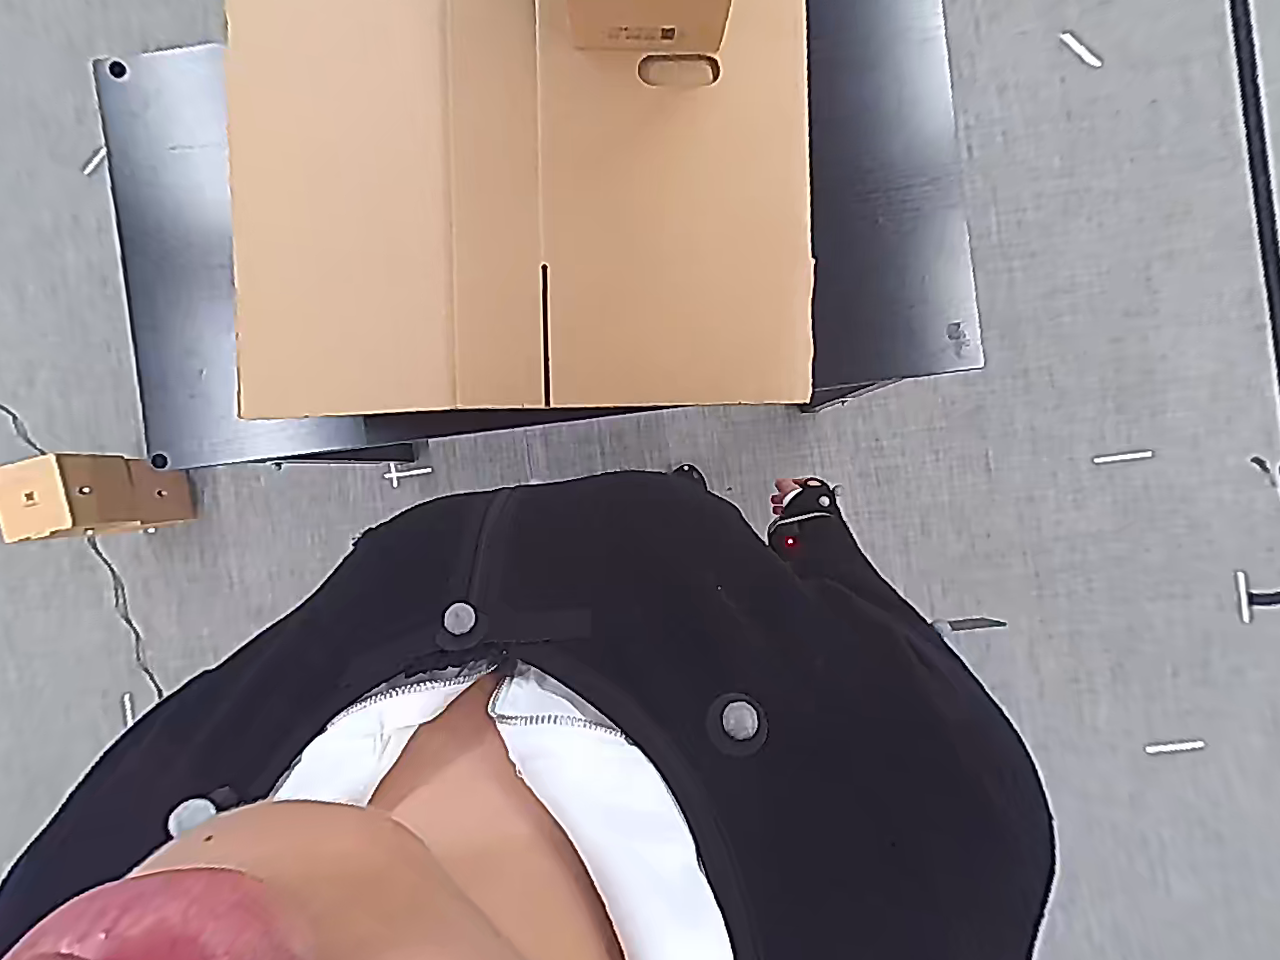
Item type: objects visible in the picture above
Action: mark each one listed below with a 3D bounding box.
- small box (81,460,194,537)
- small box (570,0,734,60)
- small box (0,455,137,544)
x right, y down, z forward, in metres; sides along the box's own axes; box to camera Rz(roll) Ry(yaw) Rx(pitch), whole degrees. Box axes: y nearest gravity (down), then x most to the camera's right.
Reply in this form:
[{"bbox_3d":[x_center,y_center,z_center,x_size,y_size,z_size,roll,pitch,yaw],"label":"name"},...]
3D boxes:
[{"bbox_3d":[-1.364,0.048,1.462,0.168,0.176,0.179,-11,91,2],"label":"small box"},{"bbox_3d":[0.012,-0.552,0.513,0.168,0.176,0.179,0,89,-2],"label":"small box"},{"bbox_3d":[-1.371,0.043,1.299,0.168,0.176,0.179,-14,89,1],"label":"small box"}]
